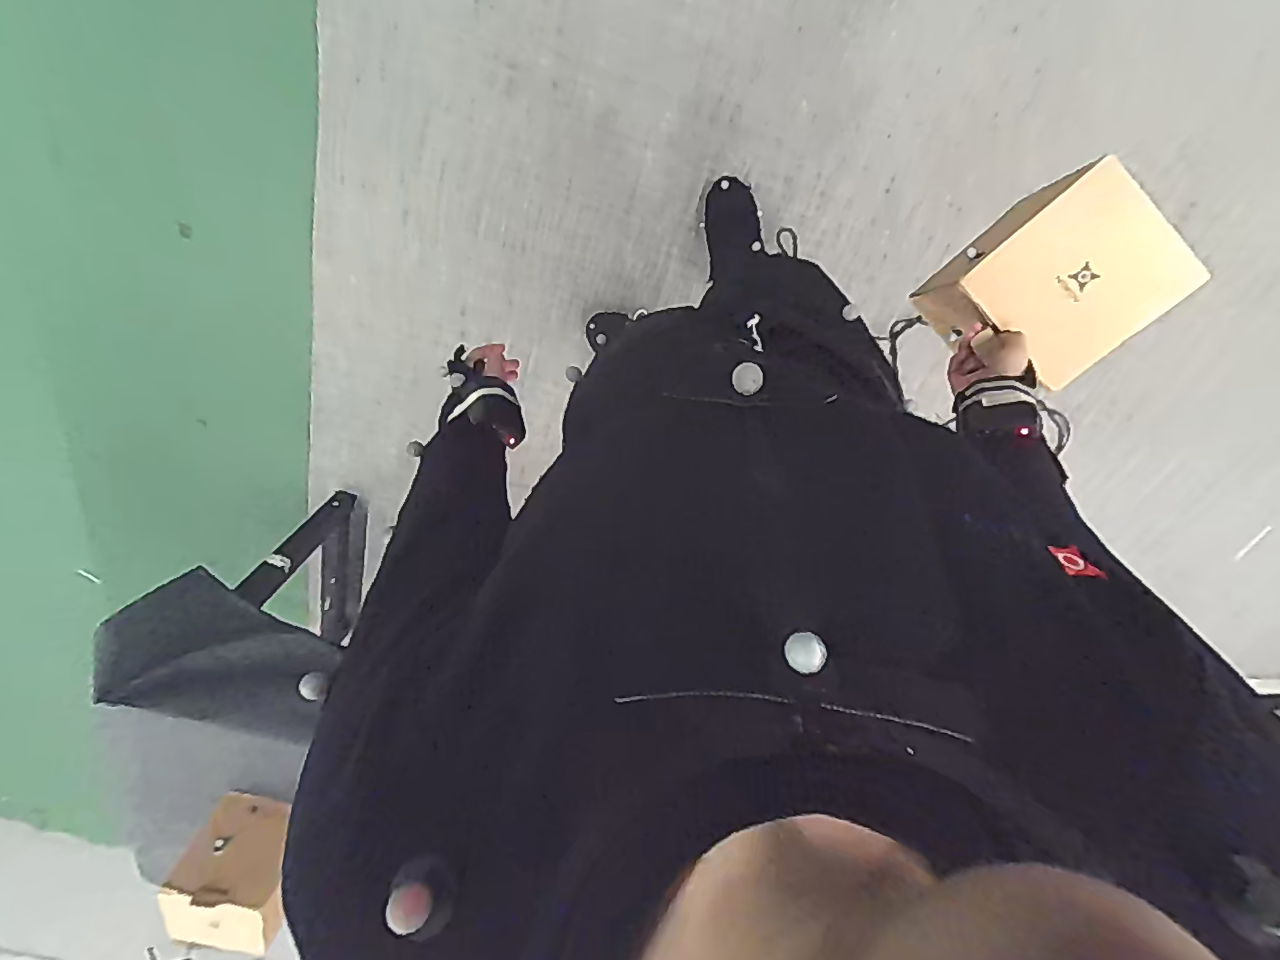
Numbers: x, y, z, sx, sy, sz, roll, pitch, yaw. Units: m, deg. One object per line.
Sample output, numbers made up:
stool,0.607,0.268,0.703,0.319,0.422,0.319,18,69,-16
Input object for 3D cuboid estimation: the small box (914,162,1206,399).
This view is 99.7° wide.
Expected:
small box,0.466,-0.219,0.635,0.179,0.176,0.168,-42,93,16

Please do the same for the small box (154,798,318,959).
small box,-0.698,0.702,0.958,0.168,0.176,0.179,16,119,-4
